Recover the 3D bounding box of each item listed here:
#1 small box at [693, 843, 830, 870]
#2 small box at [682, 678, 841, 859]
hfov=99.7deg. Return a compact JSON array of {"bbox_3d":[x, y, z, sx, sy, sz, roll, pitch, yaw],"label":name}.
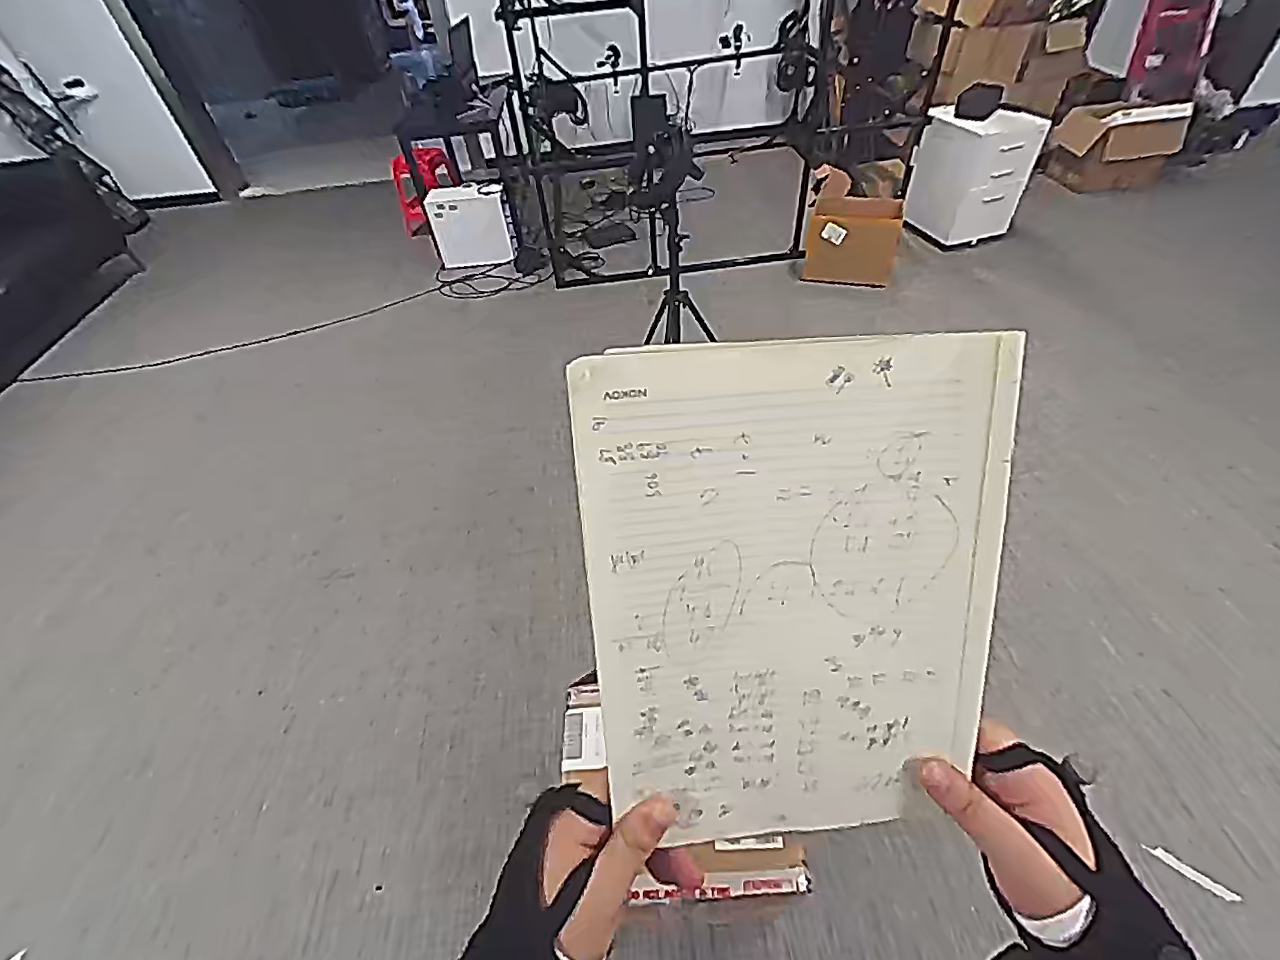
[{"bbox_3d":[0.166,0.486,0.831,0.179,0.176,0.168,-4,47,-1],"label":"small box"},{"bbox_3d":[0.142,0.377,0.708,0.168,0.176,0.179,-1,49,1],"label":"small box"}]
